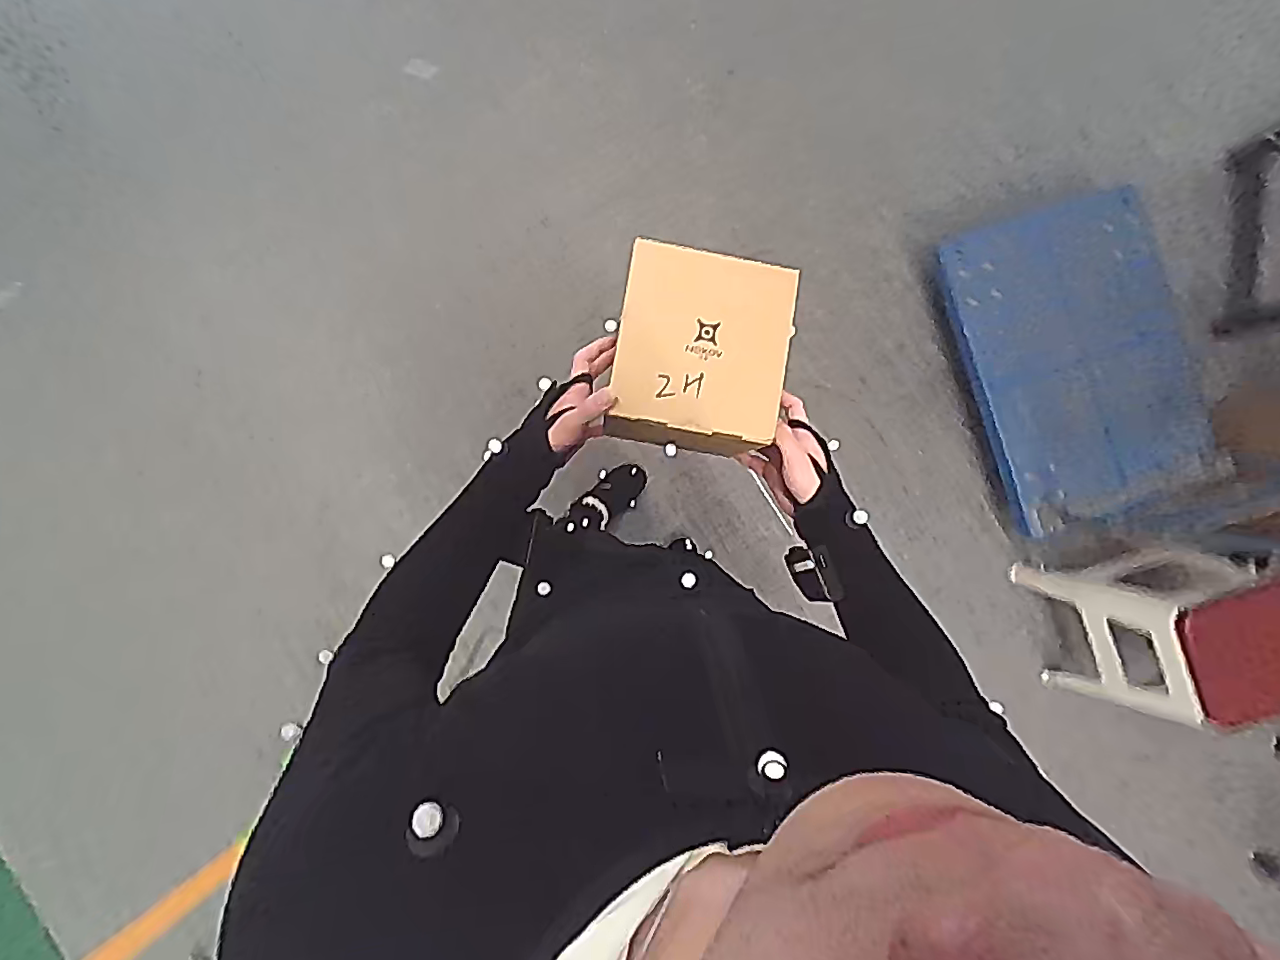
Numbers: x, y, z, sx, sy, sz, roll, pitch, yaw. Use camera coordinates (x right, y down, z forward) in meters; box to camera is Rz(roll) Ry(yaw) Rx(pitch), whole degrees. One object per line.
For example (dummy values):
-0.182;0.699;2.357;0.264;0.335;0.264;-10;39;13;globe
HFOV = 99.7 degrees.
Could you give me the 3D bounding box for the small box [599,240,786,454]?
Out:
0.047;-0.133;0.607;0.168;0.176;0.179;9;88;-4;small box
